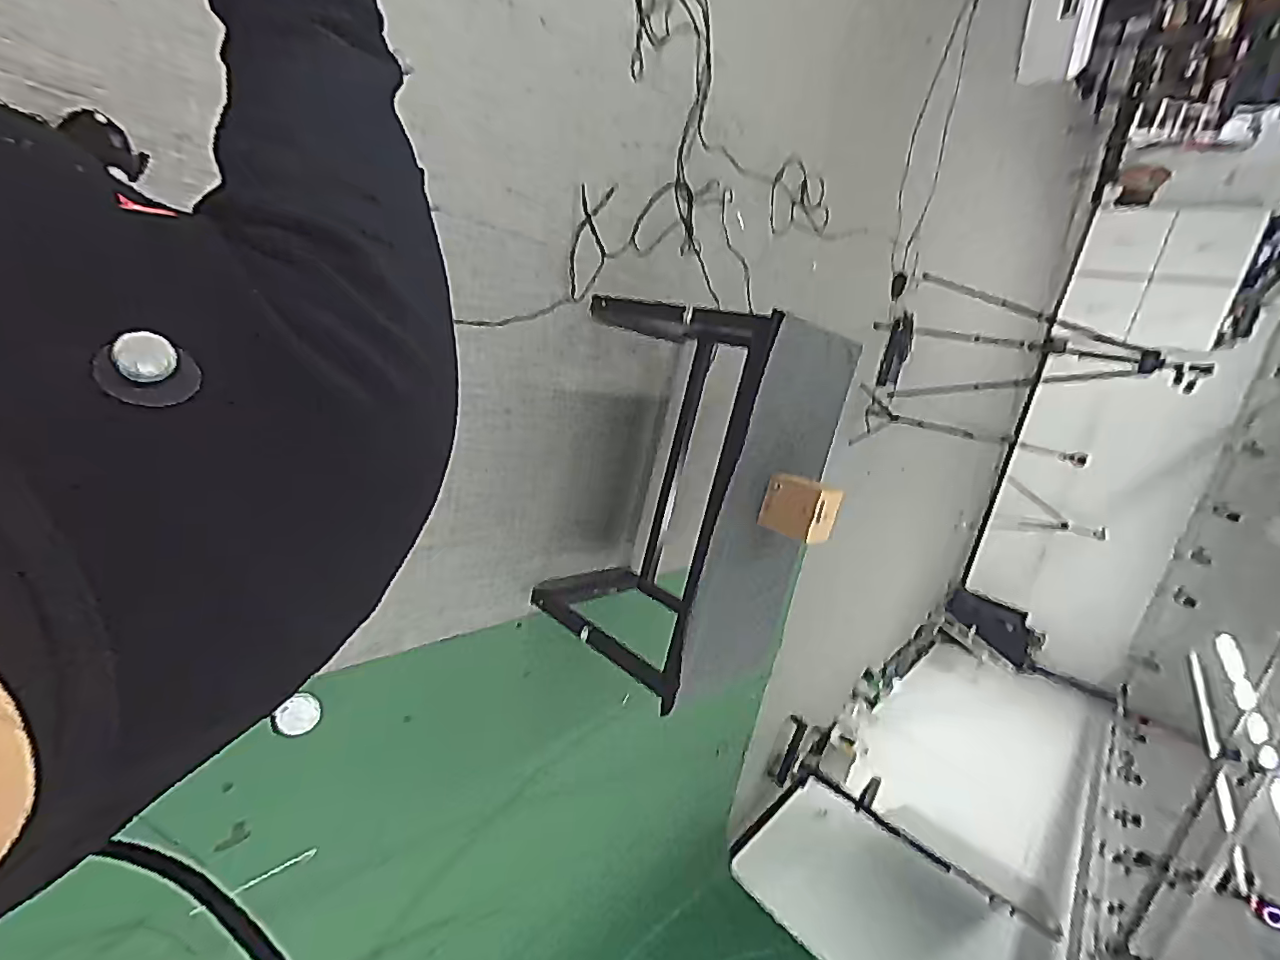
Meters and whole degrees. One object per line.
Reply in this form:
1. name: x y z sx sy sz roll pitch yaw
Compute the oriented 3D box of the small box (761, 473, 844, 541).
1. small box: 0.497 0.081 1.668 0.179 0.176 0.168 4 106 -50
